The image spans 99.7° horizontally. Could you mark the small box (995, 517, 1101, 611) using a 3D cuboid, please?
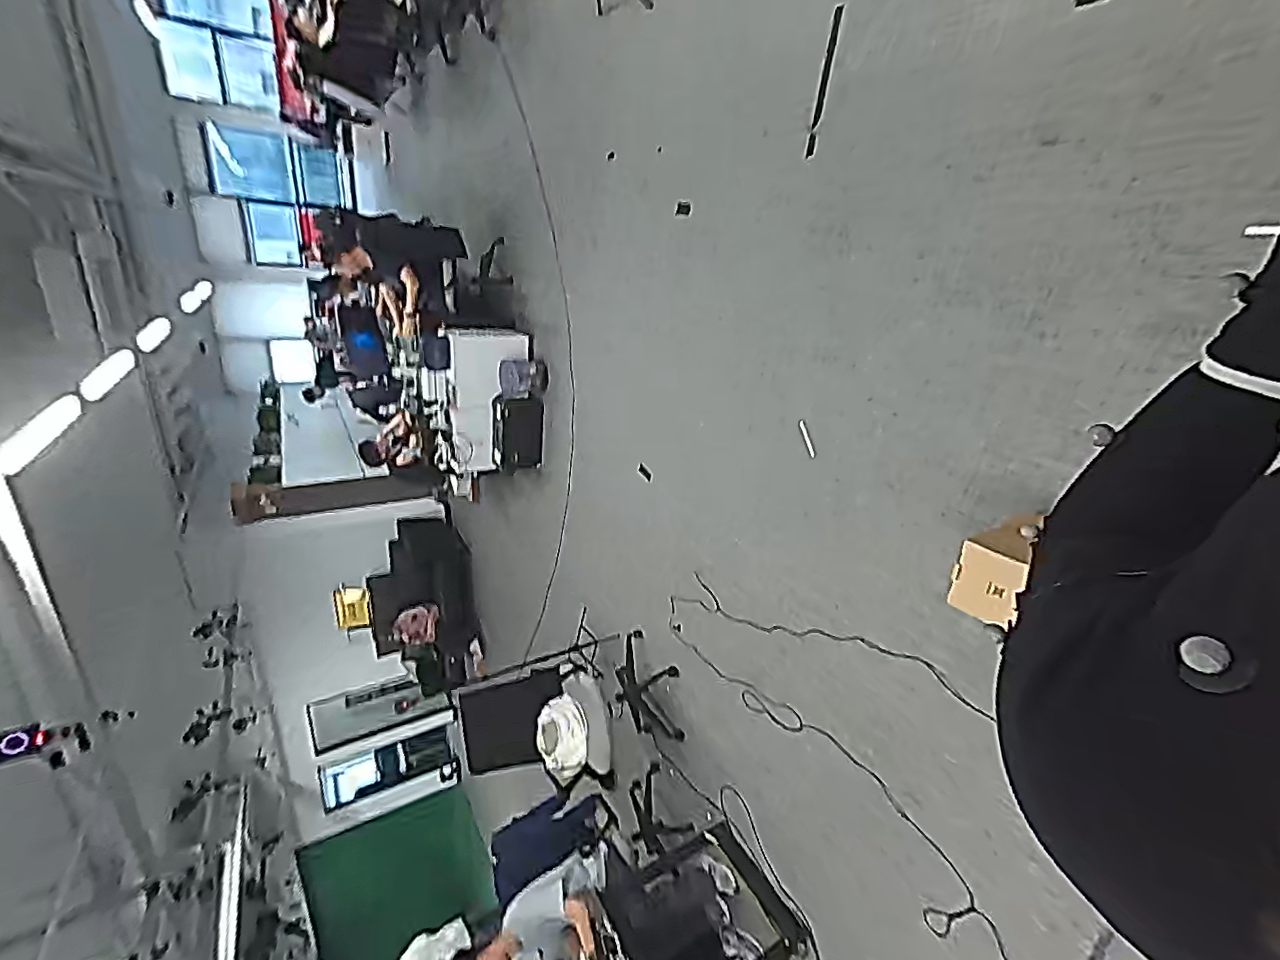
[{"bbox_3d":[0.962,0.207,1.304,0.168,0.176,0.179,33,124,51],"label":"small box"}]

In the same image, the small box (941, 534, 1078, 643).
[{"bbox_3d":[0.826,0.233,1.214,0.179,0.176,0.168,33,125,52],"label":"small box"}]
